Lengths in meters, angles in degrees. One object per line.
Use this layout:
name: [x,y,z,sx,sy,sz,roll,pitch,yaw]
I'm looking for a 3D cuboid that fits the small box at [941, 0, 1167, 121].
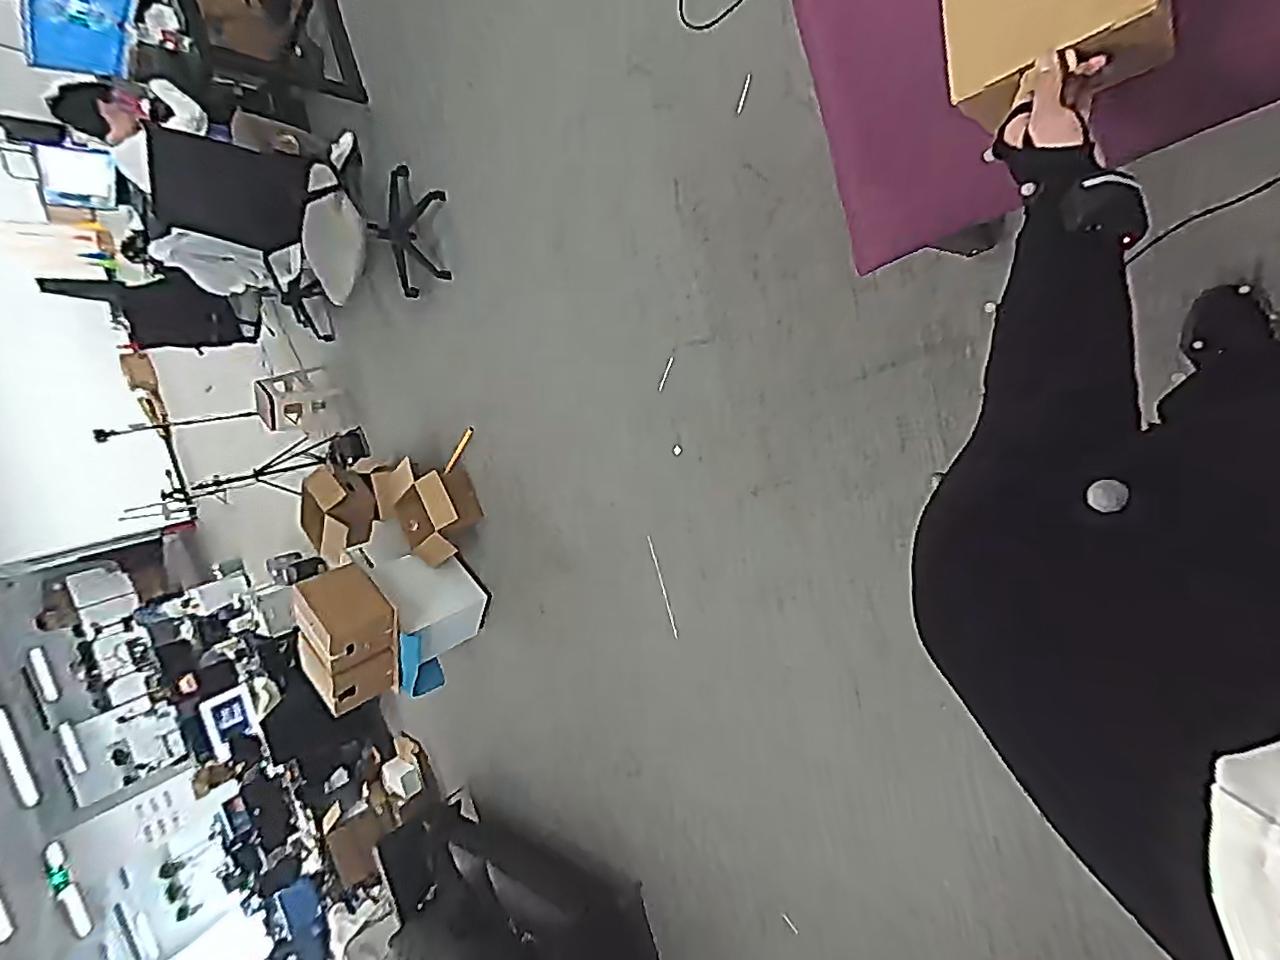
small box: [0.433,-0.511,0.567,0.168,0.176,0.179,-1,102,47]
